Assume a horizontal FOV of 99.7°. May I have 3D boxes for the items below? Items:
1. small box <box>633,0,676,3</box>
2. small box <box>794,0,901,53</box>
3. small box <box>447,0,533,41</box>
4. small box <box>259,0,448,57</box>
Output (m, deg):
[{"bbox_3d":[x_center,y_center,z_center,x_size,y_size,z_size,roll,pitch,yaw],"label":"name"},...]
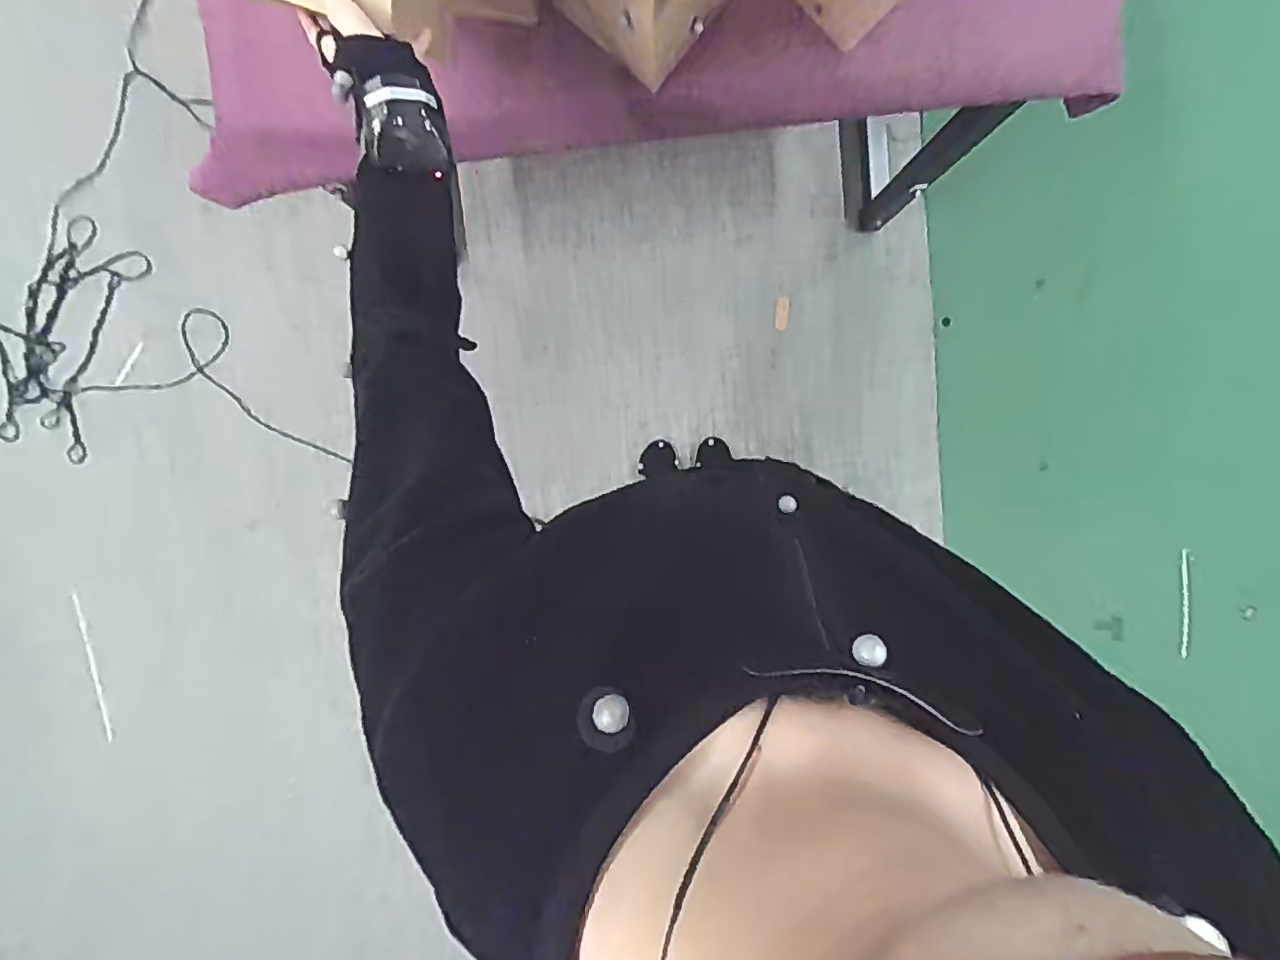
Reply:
[{"bbox_3d":[-0.025,-0.577,0.479,0.179,0.176,0.168,6,95,0],"label":"small box"},{"bbox_3d":[0.270,-0.665,0.628,0.179,0.176,0.168,-44,92,5],"label":"small box"},{"bbox_3d":[-0.221,-0.677,0.643,0.179,0.176,0.168,13,96,-4],"label":"small box"},{"bbox_3d":[-0.270,-0.501,0.474,0.179,0.176,0.168,13,120,-9],"label":"small box"}]
